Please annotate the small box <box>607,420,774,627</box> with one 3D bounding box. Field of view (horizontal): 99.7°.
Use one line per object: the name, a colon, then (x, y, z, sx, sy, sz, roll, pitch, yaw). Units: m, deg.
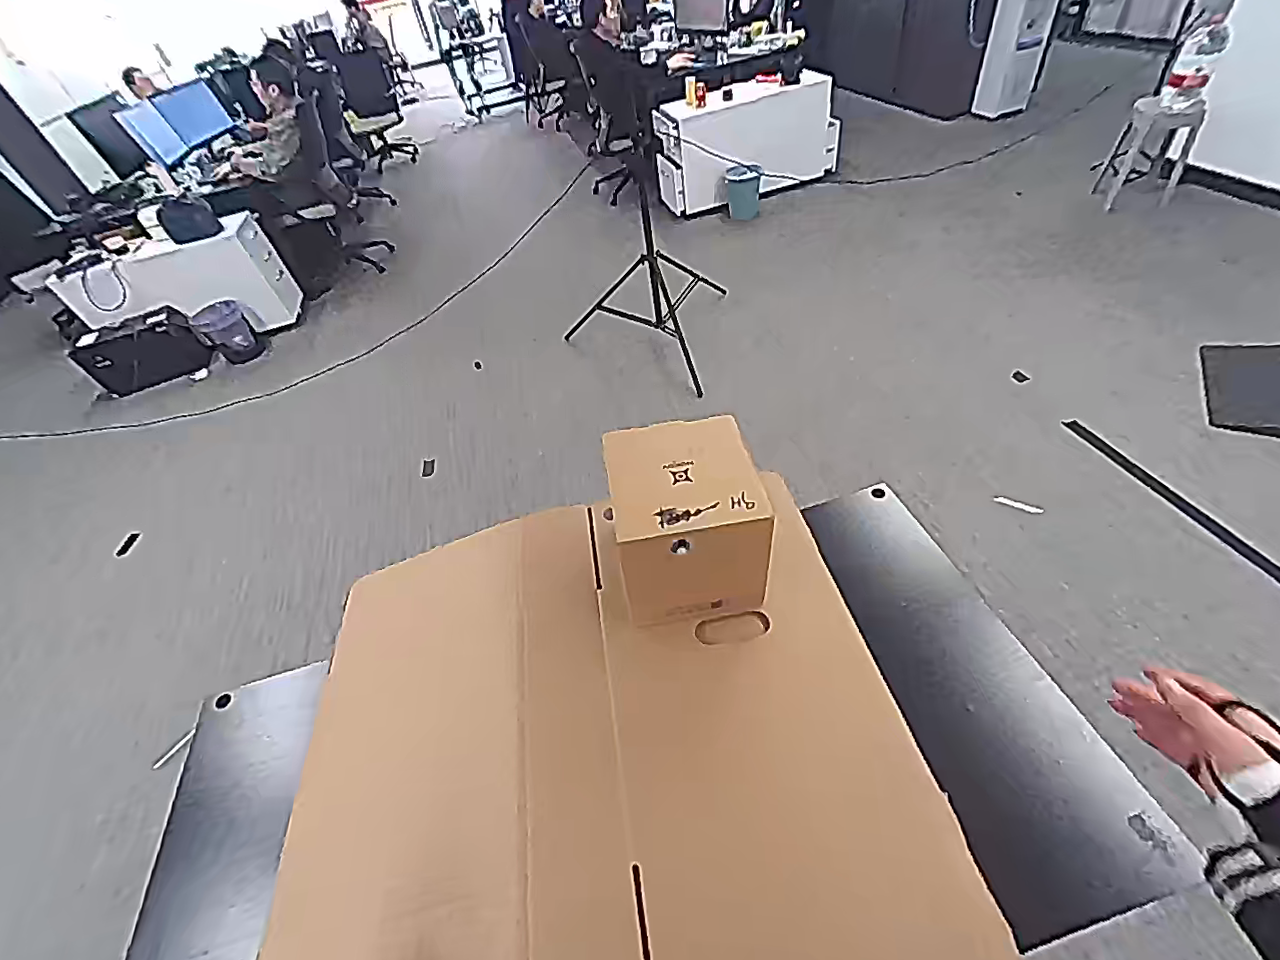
small box: (0.055, 0.052, 0.666, 0.168, 0.176, 0.179, -10, 44, -2)
